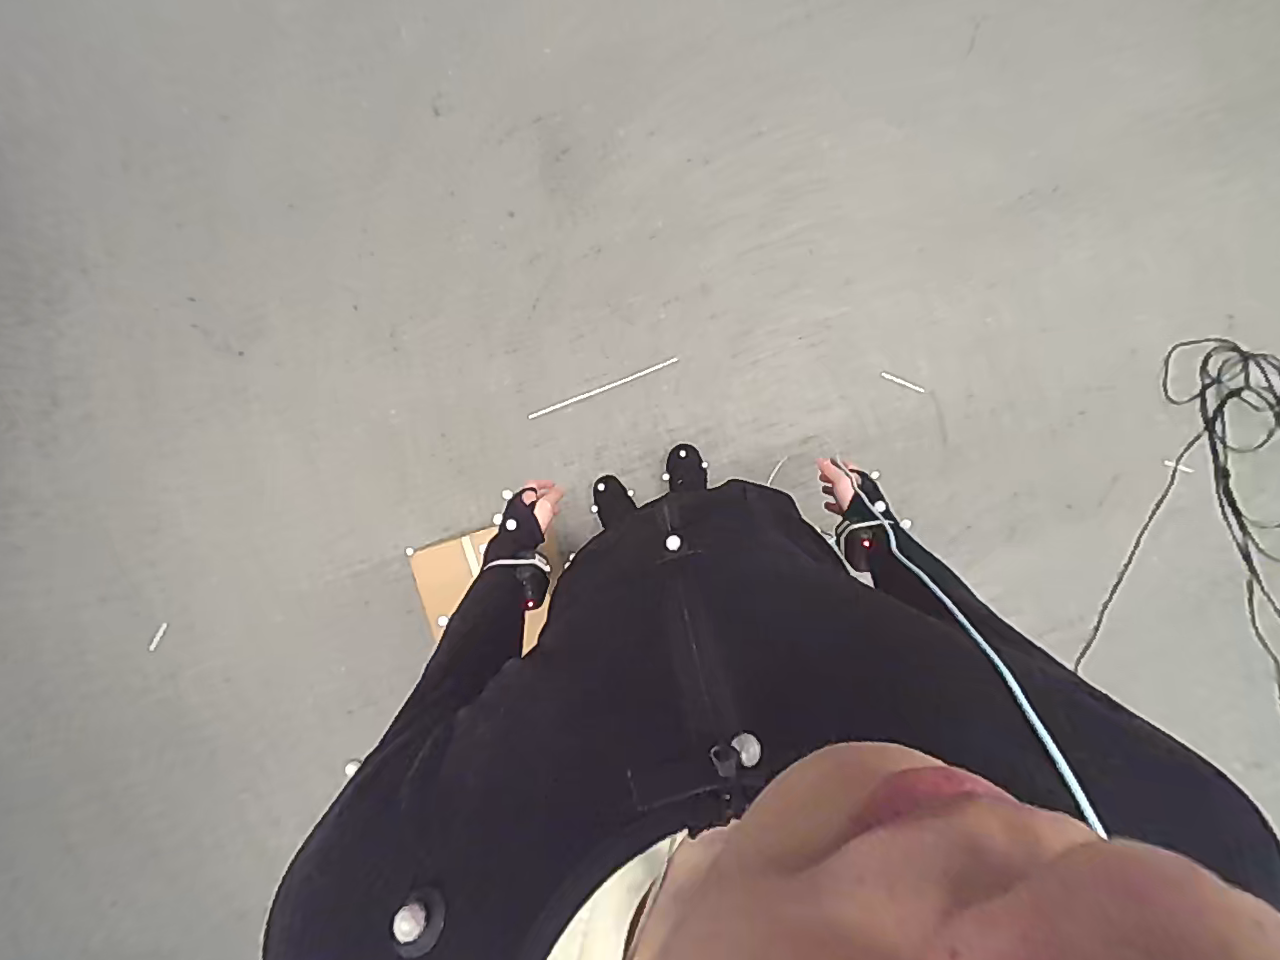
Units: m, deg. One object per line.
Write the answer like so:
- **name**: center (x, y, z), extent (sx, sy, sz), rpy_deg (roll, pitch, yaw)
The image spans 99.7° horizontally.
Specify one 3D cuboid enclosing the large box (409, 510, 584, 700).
- **large box**: center (-0.377, 0.328, 1.518), extent (0.320, 0.320, 0.408), rpy_deg (-18, 91, 0)
